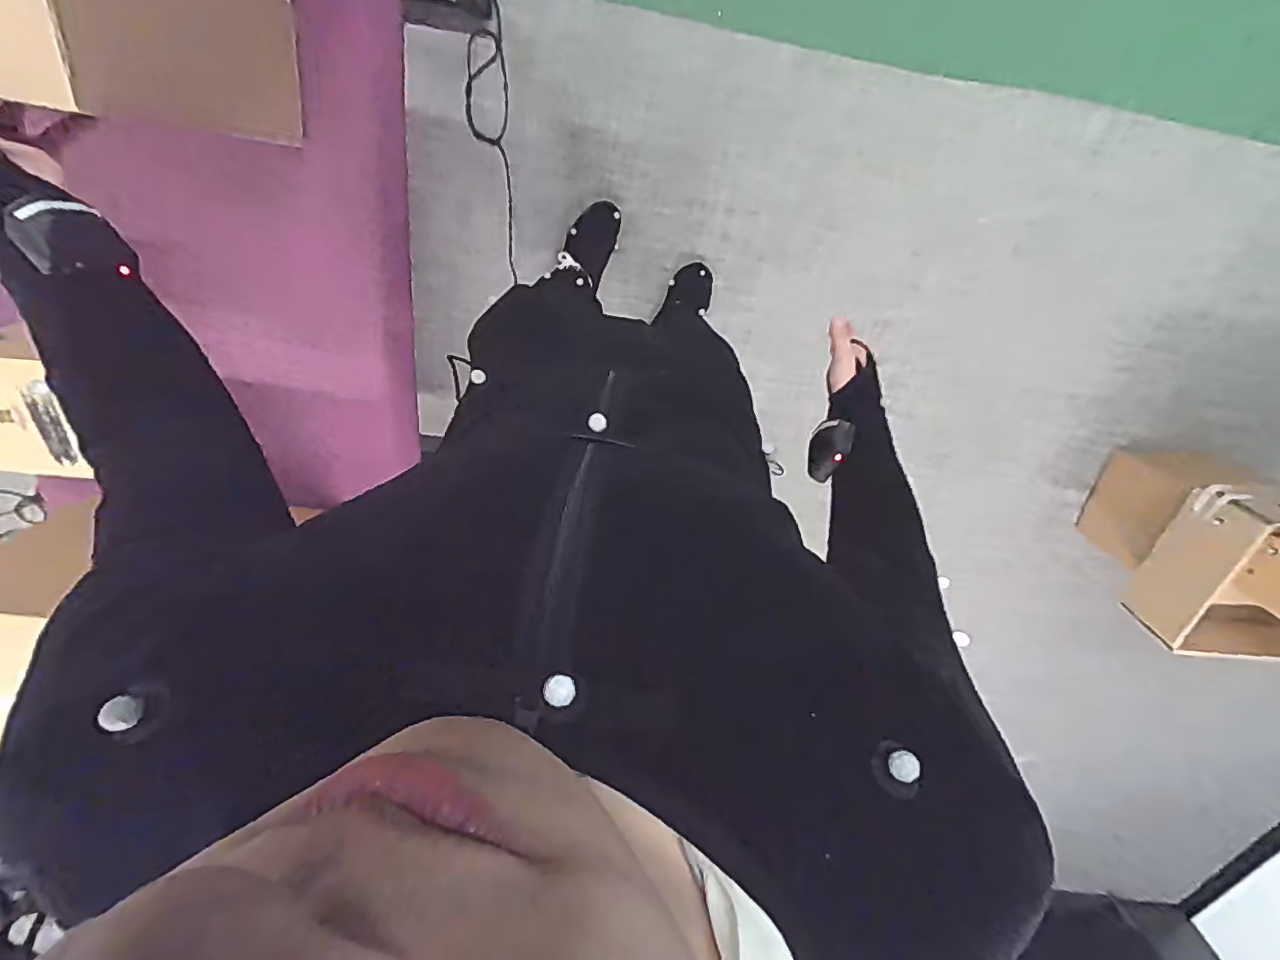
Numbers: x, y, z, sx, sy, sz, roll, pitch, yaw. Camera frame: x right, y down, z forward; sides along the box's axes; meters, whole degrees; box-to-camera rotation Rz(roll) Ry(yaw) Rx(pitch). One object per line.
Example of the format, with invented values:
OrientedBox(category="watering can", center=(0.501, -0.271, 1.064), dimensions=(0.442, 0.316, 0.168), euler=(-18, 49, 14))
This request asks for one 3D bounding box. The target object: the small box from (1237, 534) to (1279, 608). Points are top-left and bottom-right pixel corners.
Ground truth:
OrientedBox(category="small box", center=(1.656, 0.240, 1.323), dimensions=(0.179, 0.176, 0.168), euler=(5, 118, -5))

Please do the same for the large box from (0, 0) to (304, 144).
OrientedBox(category="large box", center=(-0.589, -0.511, 0.465), dimensions=(0.408, 0.320, 0.320), euler=(8, 118, -5))
